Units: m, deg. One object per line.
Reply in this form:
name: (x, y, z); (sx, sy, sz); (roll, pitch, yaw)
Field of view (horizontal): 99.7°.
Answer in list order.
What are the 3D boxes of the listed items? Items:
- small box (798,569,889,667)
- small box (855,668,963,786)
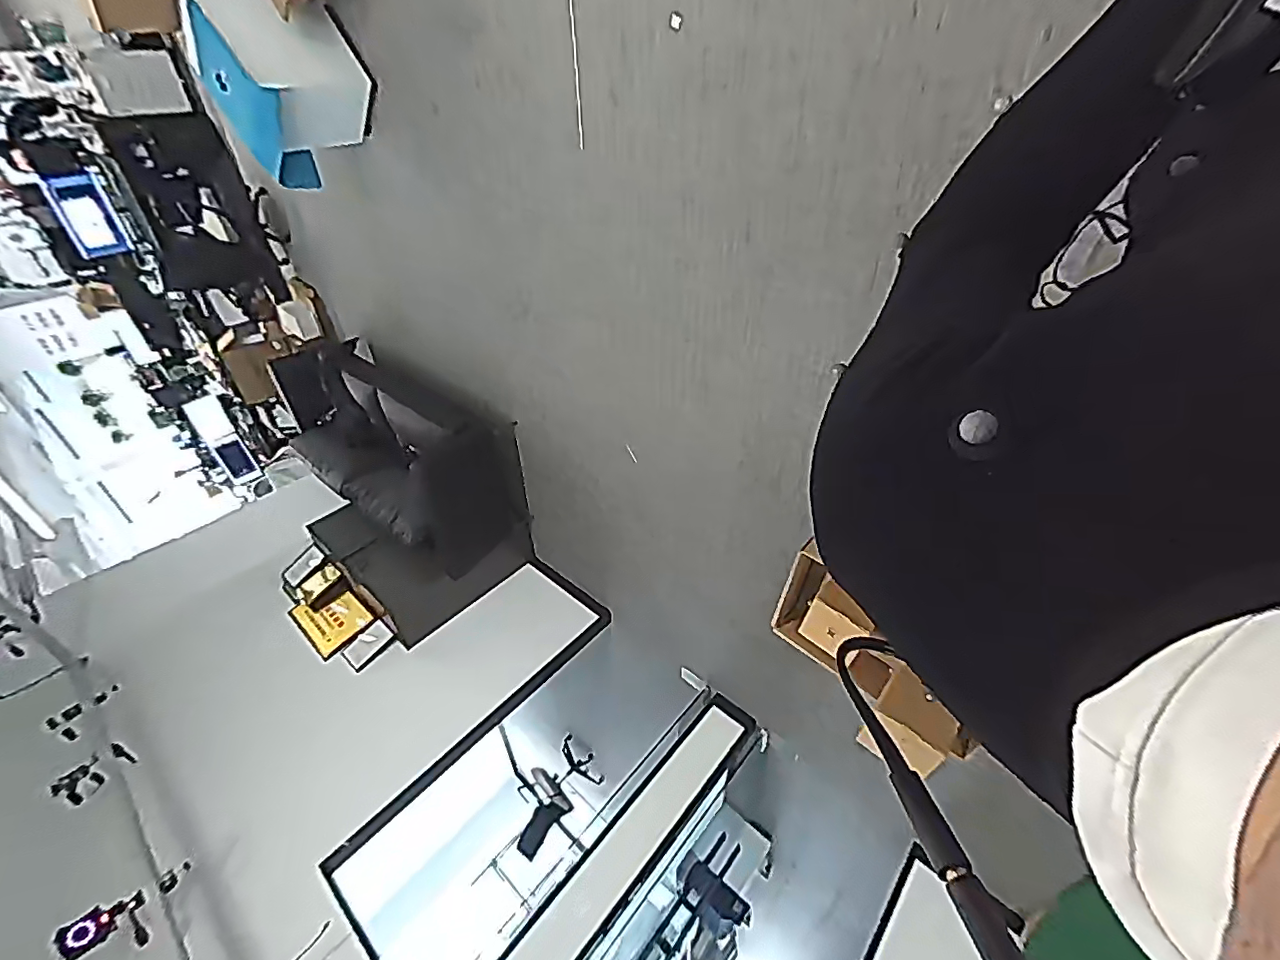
small box: (0.588, 0.393, 1.559); (0.168, 0.176, 0.179); (34, 138, 27)
small box: (0.672, 0.613, 1.351); (0.168, 0.176, 0.179); (32, 139, 28)
